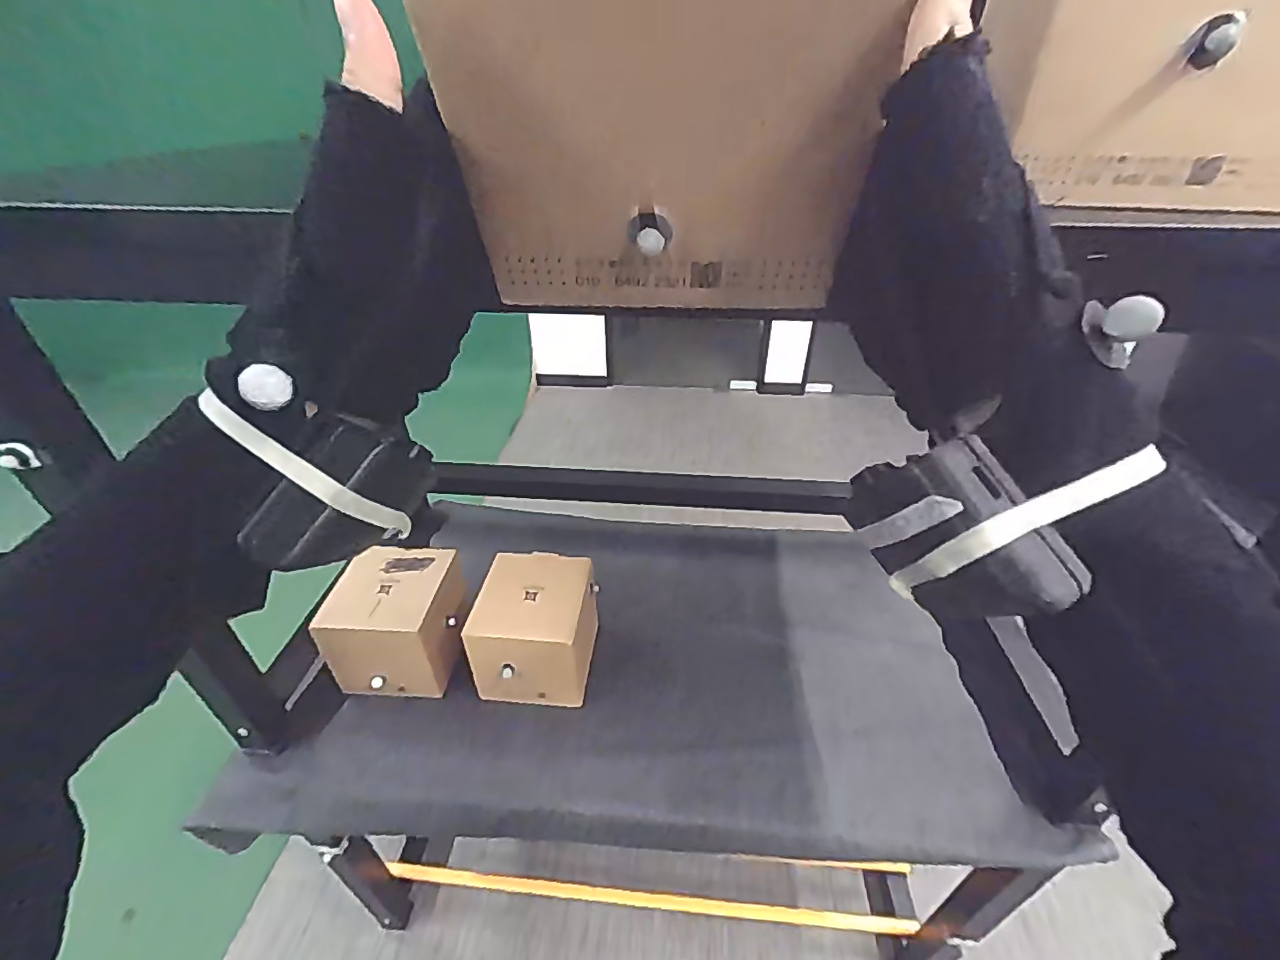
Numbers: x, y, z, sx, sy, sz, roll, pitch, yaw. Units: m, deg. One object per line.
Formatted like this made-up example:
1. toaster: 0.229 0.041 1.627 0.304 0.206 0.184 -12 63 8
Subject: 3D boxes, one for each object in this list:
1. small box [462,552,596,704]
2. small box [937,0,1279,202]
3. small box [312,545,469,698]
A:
1. small box: -0.167 0.240 0.882 0.168 0.176 0.179 3 35 4
2. small box: 0.317 -0.284 0.349 0.168 0.176 0.179 8 36 11
3. small box: -0.393 0.230 0.893 0.168 0.176 0.179 2 35 3
